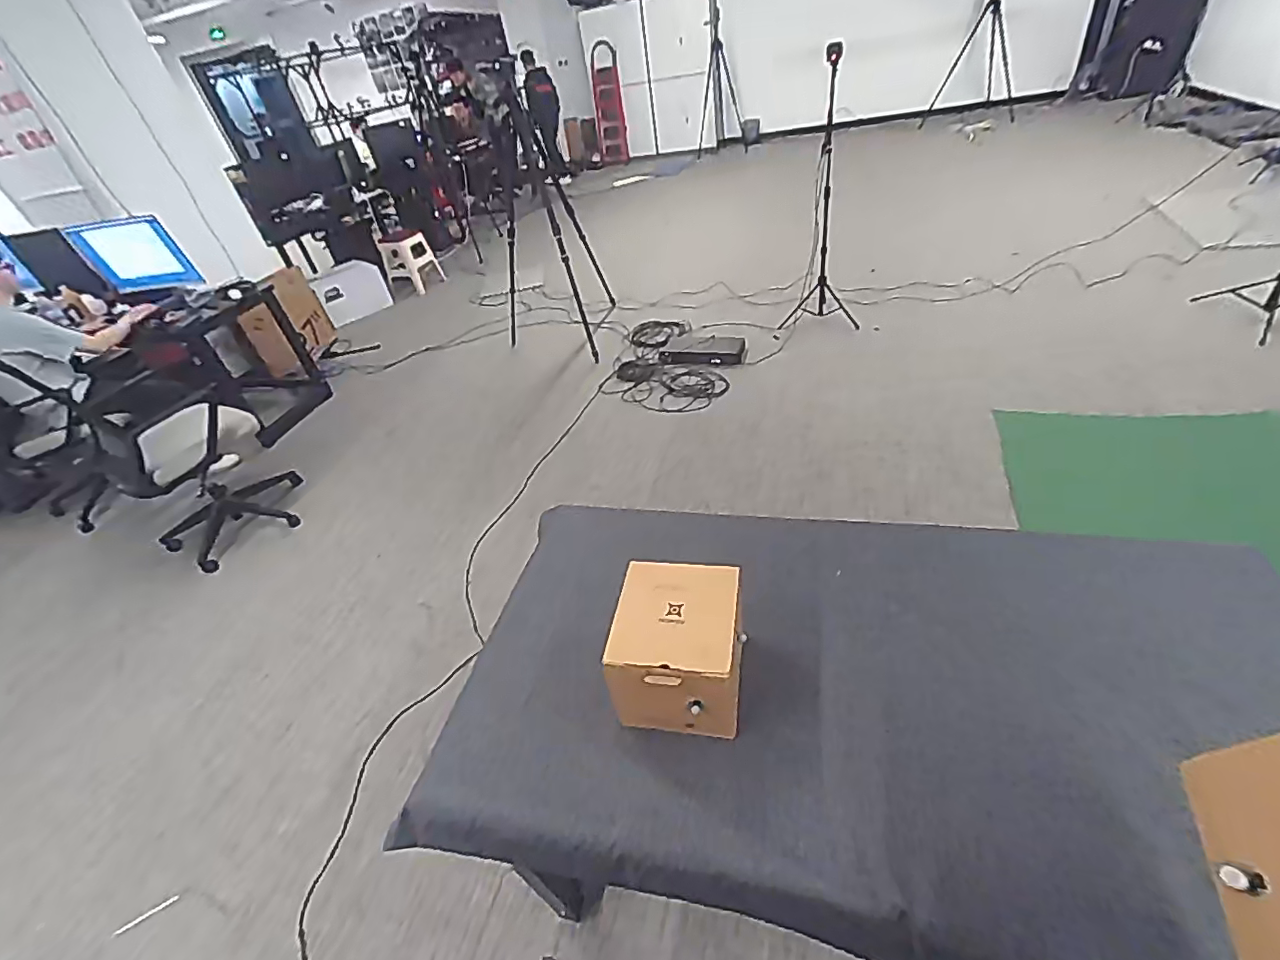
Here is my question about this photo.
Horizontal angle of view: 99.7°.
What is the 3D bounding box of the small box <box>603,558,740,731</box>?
[{"bbox_3d":[0.057,0.238,0.786,0.168,0.176,0.179,2,40,13],"label":"small box"}]
